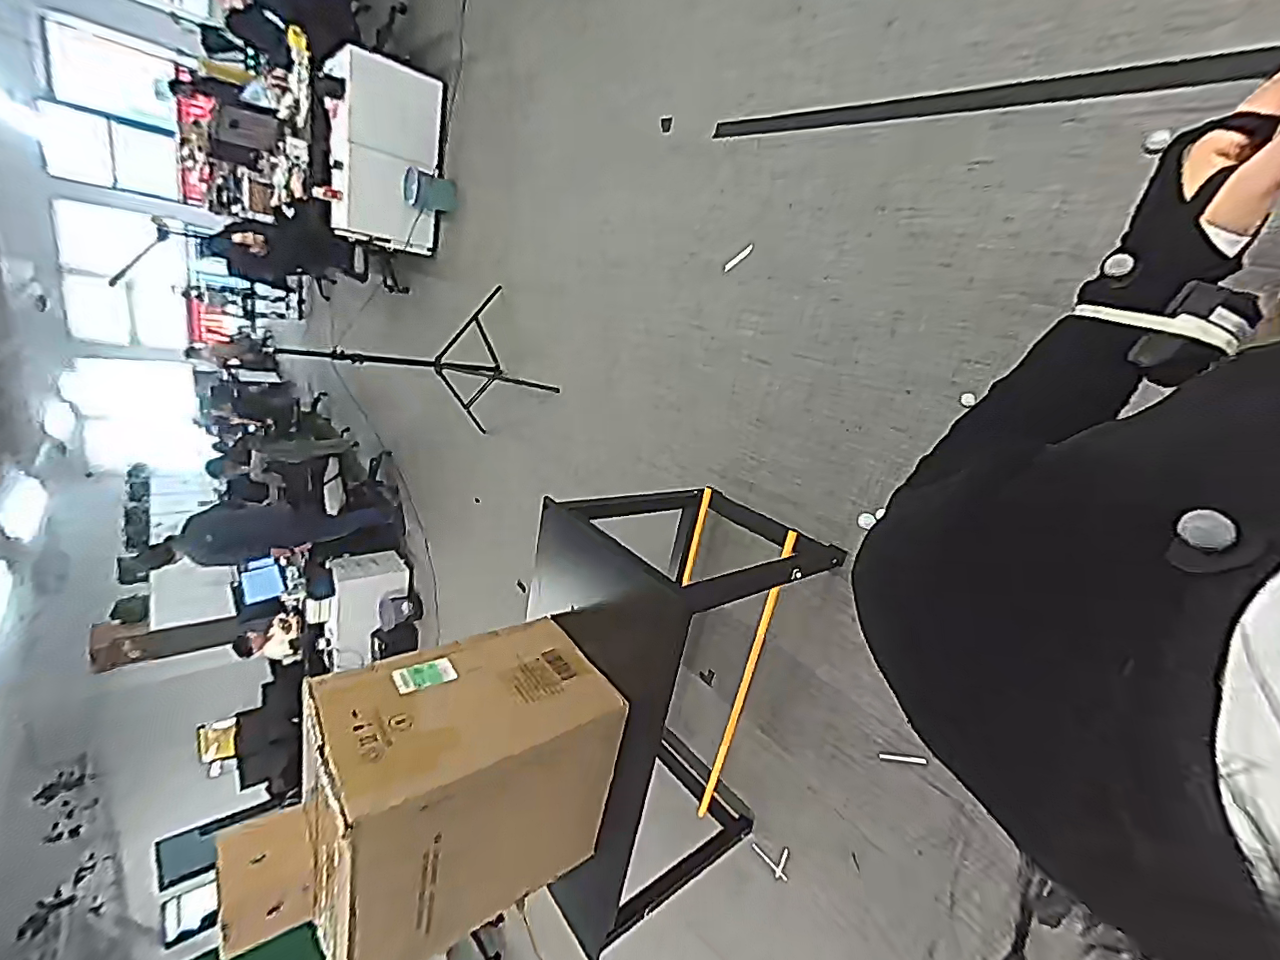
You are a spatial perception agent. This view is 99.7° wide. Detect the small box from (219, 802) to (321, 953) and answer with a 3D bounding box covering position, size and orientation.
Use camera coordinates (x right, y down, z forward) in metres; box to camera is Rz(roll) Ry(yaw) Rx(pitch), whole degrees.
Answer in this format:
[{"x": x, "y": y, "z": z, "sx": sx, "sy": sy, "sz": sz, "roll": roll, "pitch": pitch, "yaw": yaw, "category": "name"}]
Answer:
[{"x": -0.813, "y": 0.860, "z": 1.191, "sx": 0.179, "sy": 0.176, "sz": 0.168, "roll": 31, "pitch": 116, "yaw": 45, "category": "small box"}]
